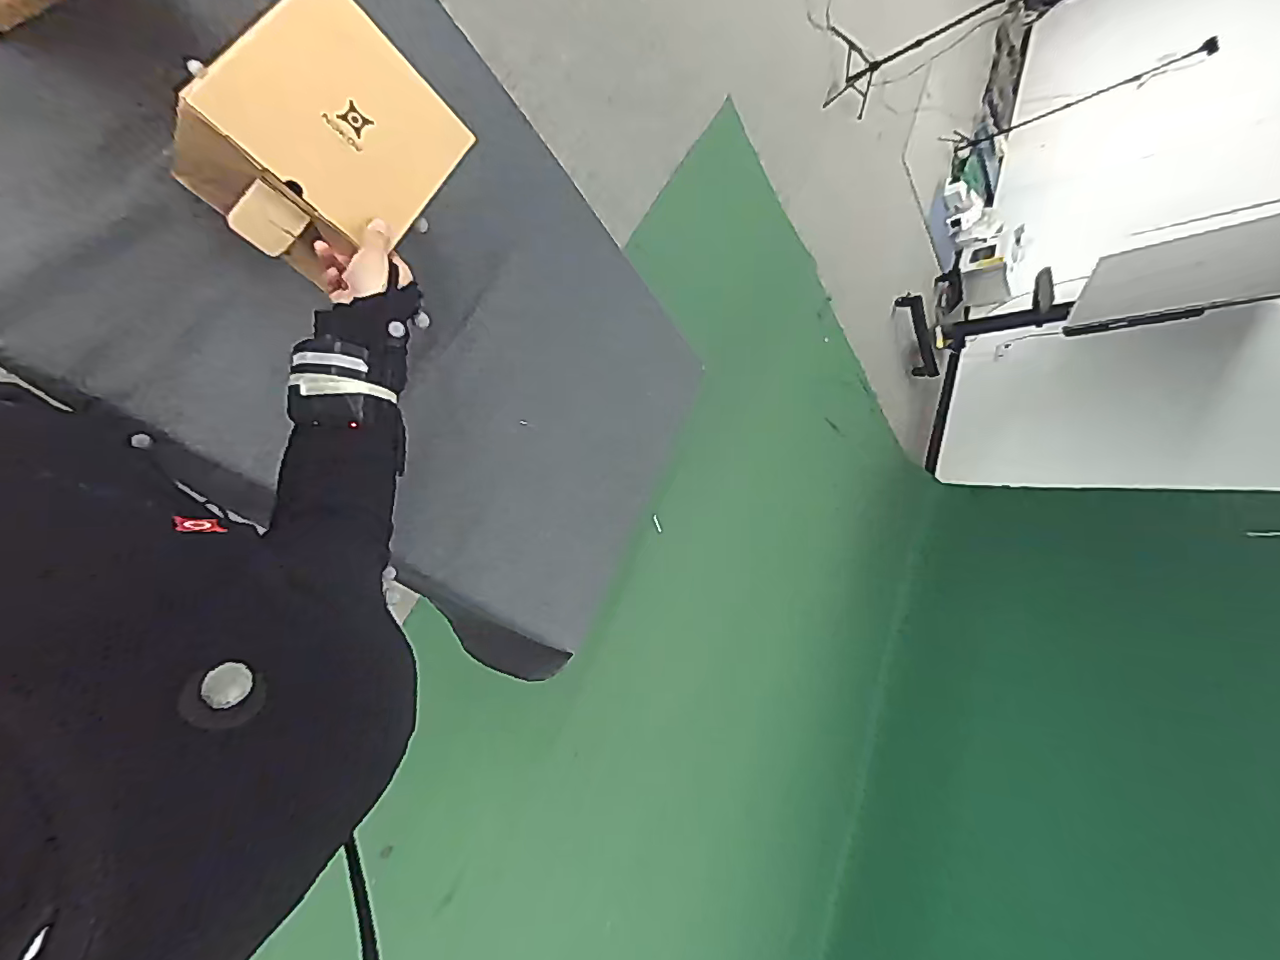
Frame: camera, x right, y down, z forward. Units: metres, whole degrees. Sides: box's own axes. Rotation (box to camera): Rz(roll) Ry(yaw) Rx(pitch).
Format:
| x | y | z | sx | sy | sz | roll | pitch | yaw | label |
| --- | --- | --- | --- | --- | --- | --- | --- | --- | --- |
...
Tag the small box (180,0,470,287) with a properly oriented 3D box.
| x | y | z | sx | sy | sz | roll | pitch | yaw | label |
| --- | --- | --- | --- | --- | --- | --- | --- | --- | --- |
| -0.310 | -0.320 | 0.531 | 0.168 | 0.176 | 0.179 | 41 | 68 | -38 | small box |
